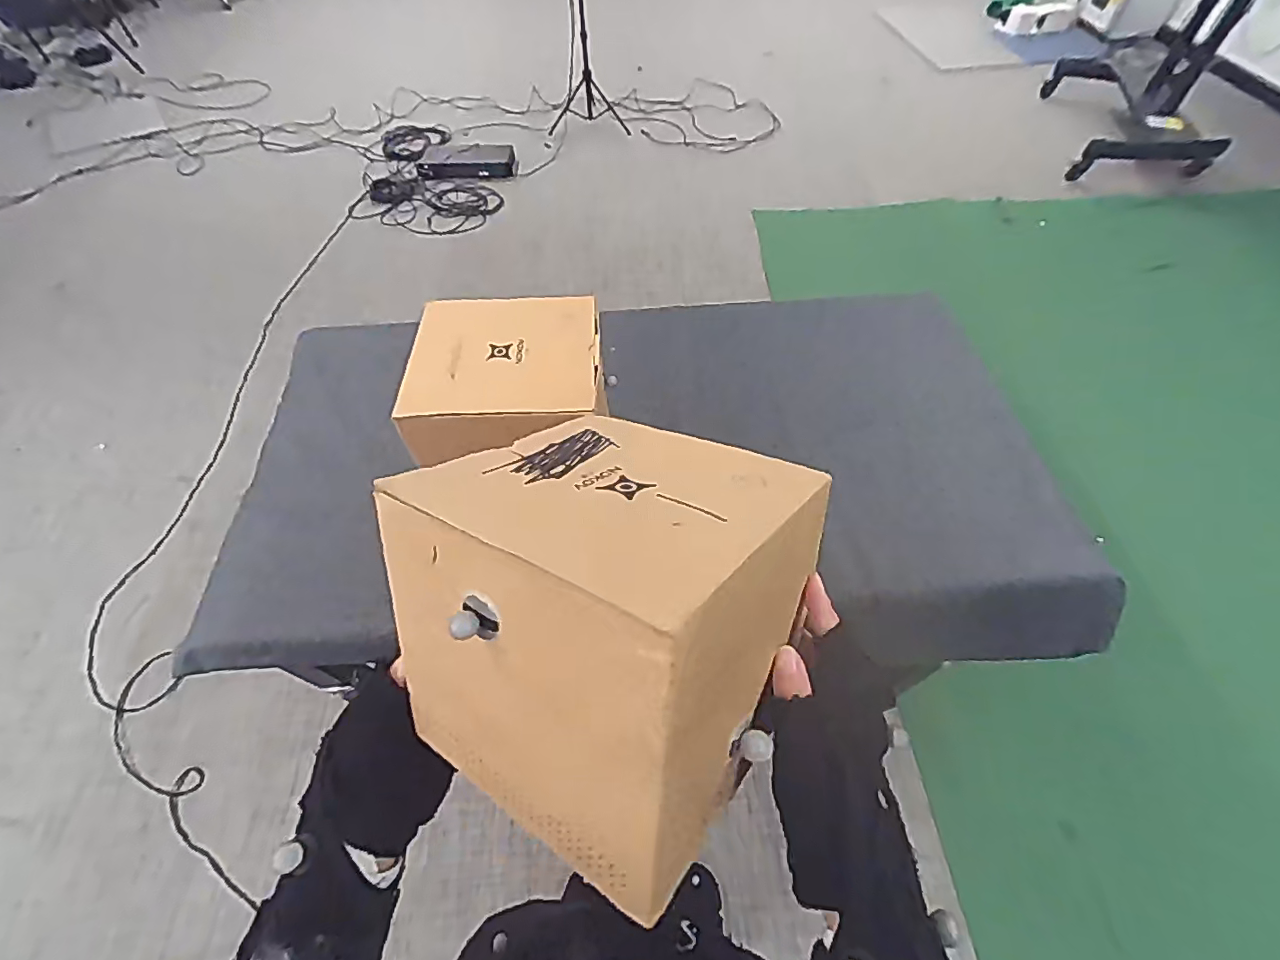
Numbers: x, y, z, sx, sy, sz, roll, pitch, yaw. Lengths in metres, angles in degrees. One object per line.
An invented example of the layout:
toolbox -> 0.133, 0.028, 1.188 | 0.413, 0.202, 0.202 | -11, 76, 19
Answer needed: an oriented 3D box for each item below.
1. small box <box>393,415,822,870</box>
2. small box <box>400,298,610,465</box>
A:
small box -> -0.016, 0.073, 0.322 | 0.179, 0.176, 0.168 | 18, 28, 31
small box -> -0.123, -0.072, 0.580 | 0.179, 0.176, 0.168 | -3, 53, 0
